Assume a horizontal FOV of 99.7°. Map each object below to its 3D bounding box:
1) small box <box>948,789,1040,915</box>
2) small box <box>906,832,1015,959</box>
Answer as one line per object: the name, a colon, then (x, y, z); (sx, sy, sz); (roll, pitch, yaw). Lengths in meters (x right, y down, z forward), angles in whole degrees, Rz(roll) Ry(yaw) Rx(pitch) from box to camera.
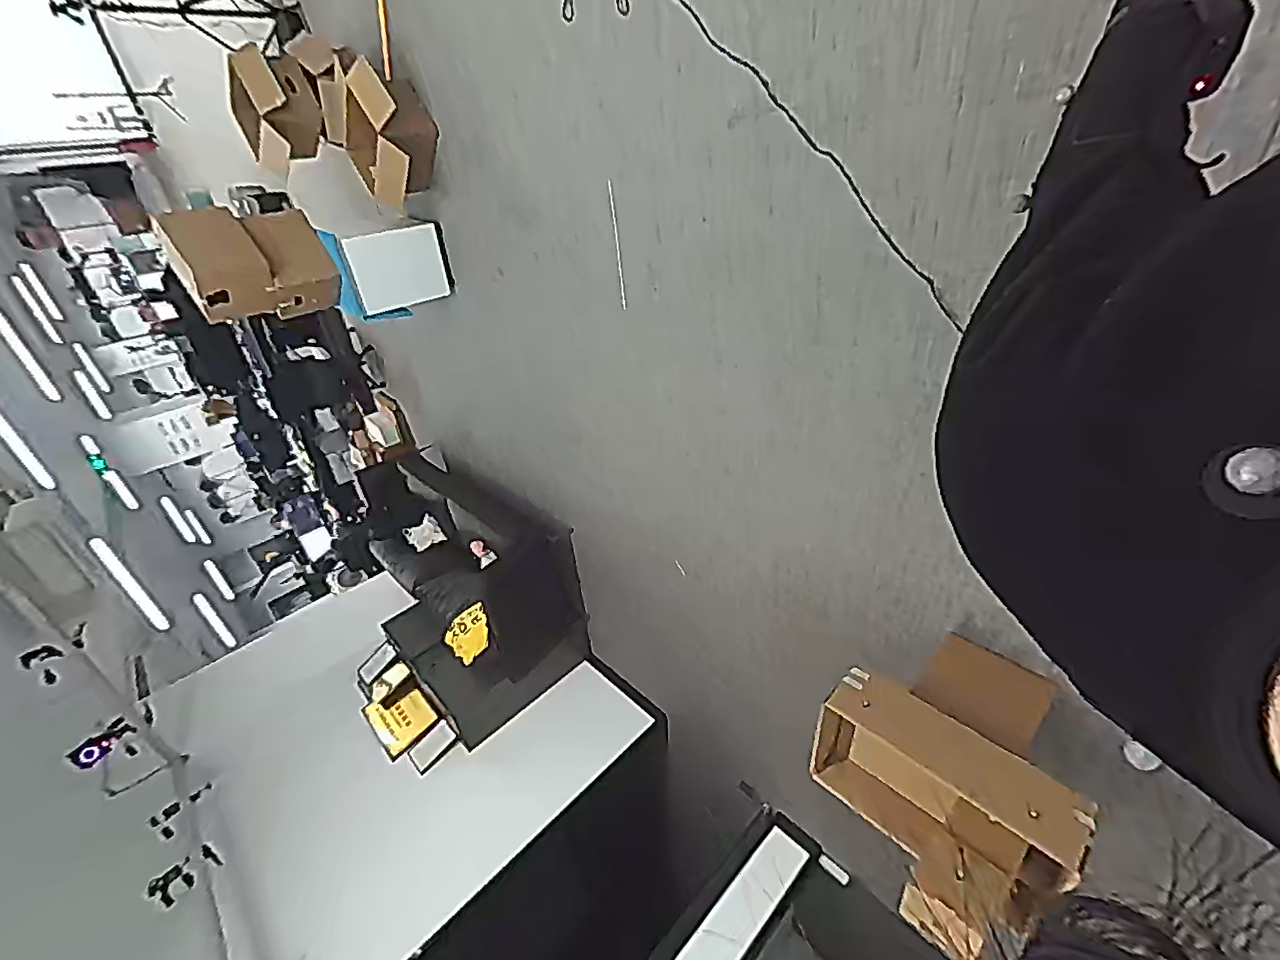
small box: (0.899, 0.953, 1.395); (0.168, 0.176, 0.179); (24, 132, 42)
small box: (0.773, 1.006, 1.304); (0.168, 0.176, 0.179); (25, 132, 42)
